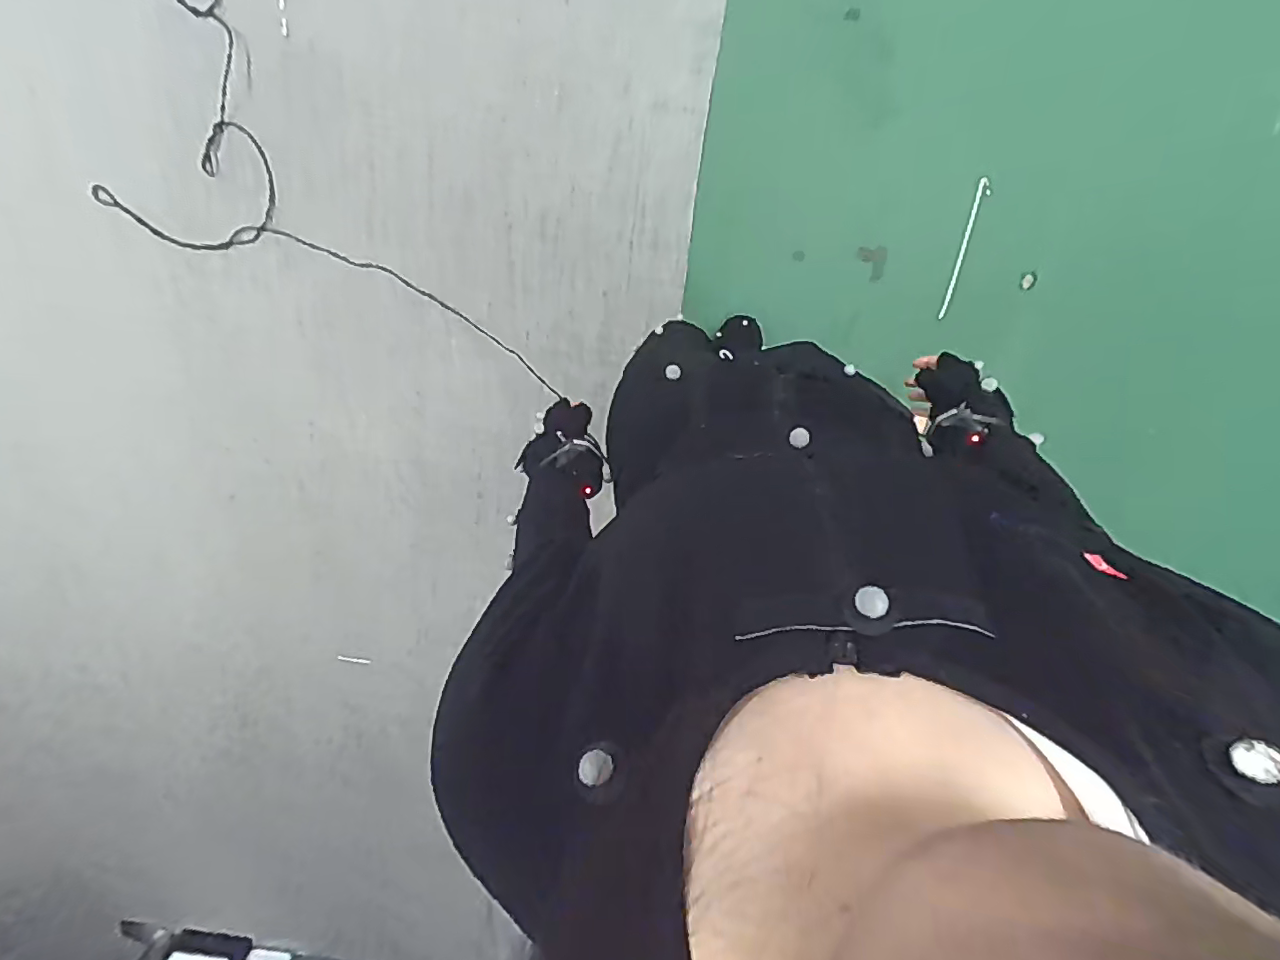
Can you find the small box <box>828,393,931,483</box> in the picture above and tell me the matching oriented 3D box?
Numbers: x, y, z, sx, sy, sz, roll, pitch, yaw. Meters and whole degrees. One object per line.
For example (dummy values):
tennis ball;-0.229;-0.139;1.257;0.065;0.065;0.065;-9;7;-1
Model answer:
small box;0.590;-0.110;1.360;0.168;0.176;0.179;10;108;0
